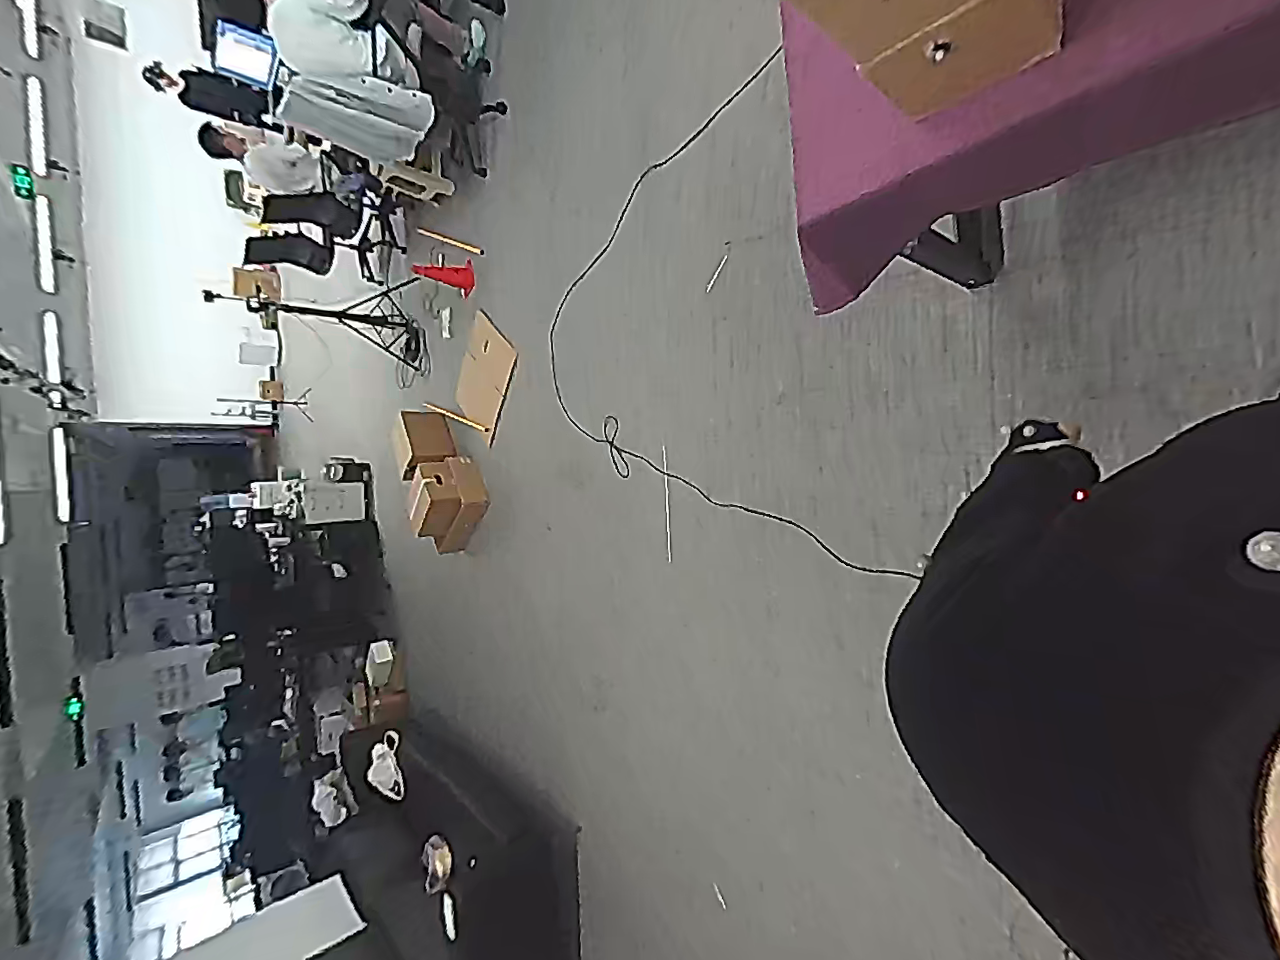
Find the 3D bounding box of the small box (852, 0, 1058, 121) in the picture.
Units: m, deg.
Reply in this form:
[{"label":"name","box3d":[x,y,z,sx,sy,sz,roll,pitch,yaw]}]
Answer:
[{"label":"small box","box3d":[0.379,-0.581,0.656,0.179,0.176,0.168,0,93,48]}]

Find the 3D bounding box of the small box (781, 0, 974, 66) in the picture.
[{"label":"small box","box3d":[0.259,-0.576,0.544,0.179,0.176,0.168,-1,93,50]}]
